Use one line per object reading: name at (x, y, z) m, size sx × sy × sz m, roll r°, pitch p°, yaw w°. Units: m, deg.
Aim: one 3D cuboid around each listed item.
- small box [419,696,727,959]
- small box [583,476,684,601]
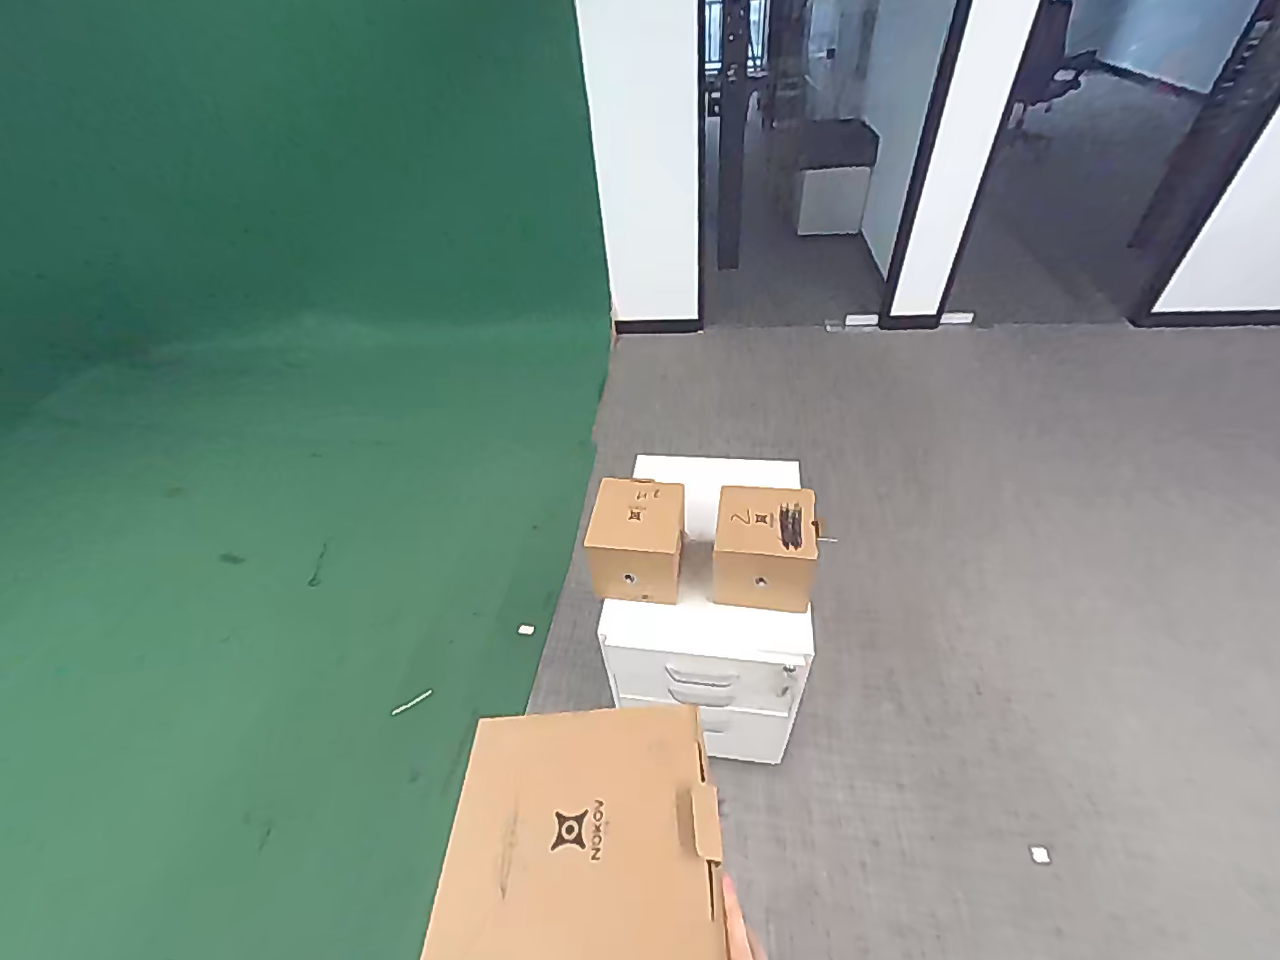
small box at (-0.029, 0.288, 0.407) m, size 0.179 × 0.176 × 0.168 m, roll -8°, pitch 36°, yaw 6°
small box at (-0.004, 0.117, 1.057) m, size 0.168 × 0.176 × 0.179 m, roll 5°, pitch 45°, yaw 8°
